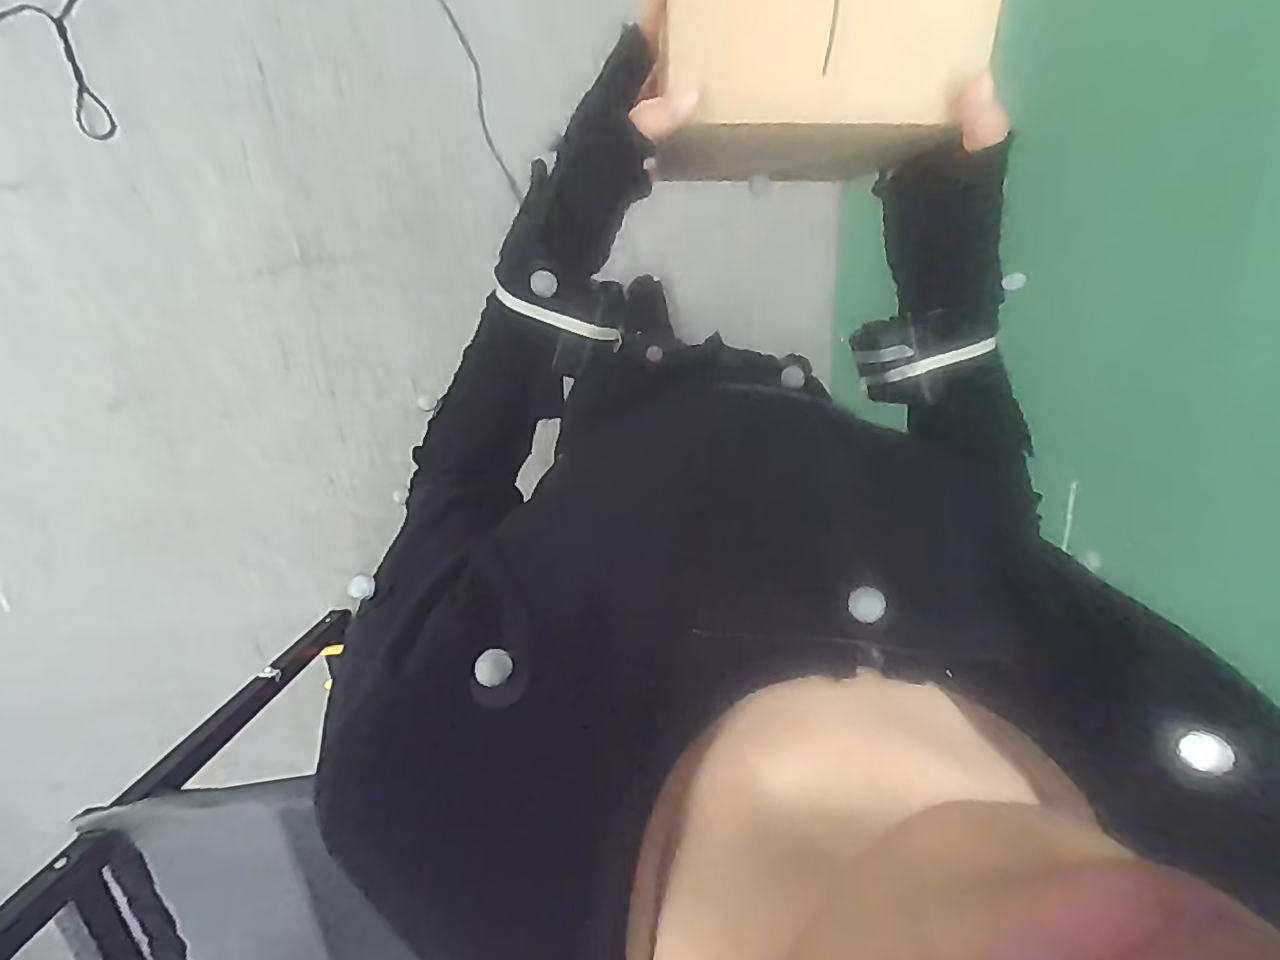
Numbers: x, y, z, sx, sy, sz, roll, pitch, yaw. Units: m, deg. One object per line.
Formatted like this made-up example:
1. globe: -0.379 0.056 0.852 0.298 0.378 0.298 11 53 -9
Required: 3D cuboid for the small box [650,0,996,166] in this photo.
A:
1. small box: 0.092 -0.306 0.325 0.168 0.176 0.179 -1 110 -1
